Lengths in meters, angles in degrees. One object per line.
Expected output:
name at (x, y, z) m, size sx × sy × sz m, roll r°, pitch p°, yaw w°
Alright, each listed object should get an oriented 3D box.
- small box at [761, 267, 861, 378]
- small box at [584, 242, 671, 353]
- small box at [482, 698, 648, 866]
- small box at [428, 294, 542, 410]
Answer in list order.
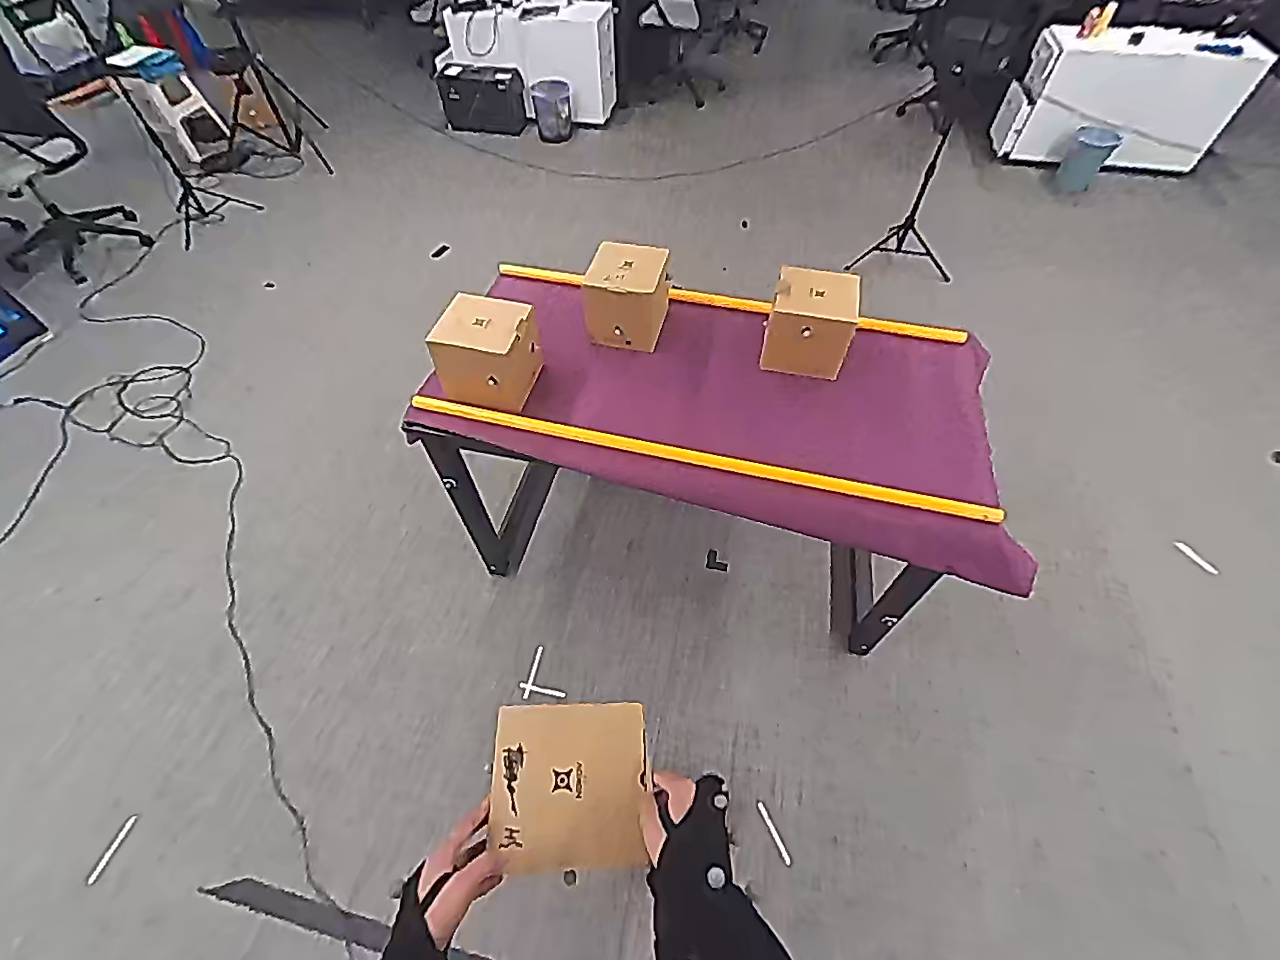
small box at (0.384, -0.353, 1.226) m, size 0.179 × 0.176 × 0.168 m, roll 11°, pitch 56°, yaw 10°
small box at (-0.026, -0.435, 1.291) m, size 0.168 × 0.176 × 0.179 m, roll 11°, pitch 57°, yaw 9°
small box at (-0.087, 0.377, 0.676) m, size 0.179 × 0.176 × 0.168 m, roll 1°, pitch 56°, yaw -5°
small box at (-0.324, -0.273, 1.176) m, size 0.179 × 0.176 × 0.168 m, roll 12°, pitch 54°, yaw 7°
